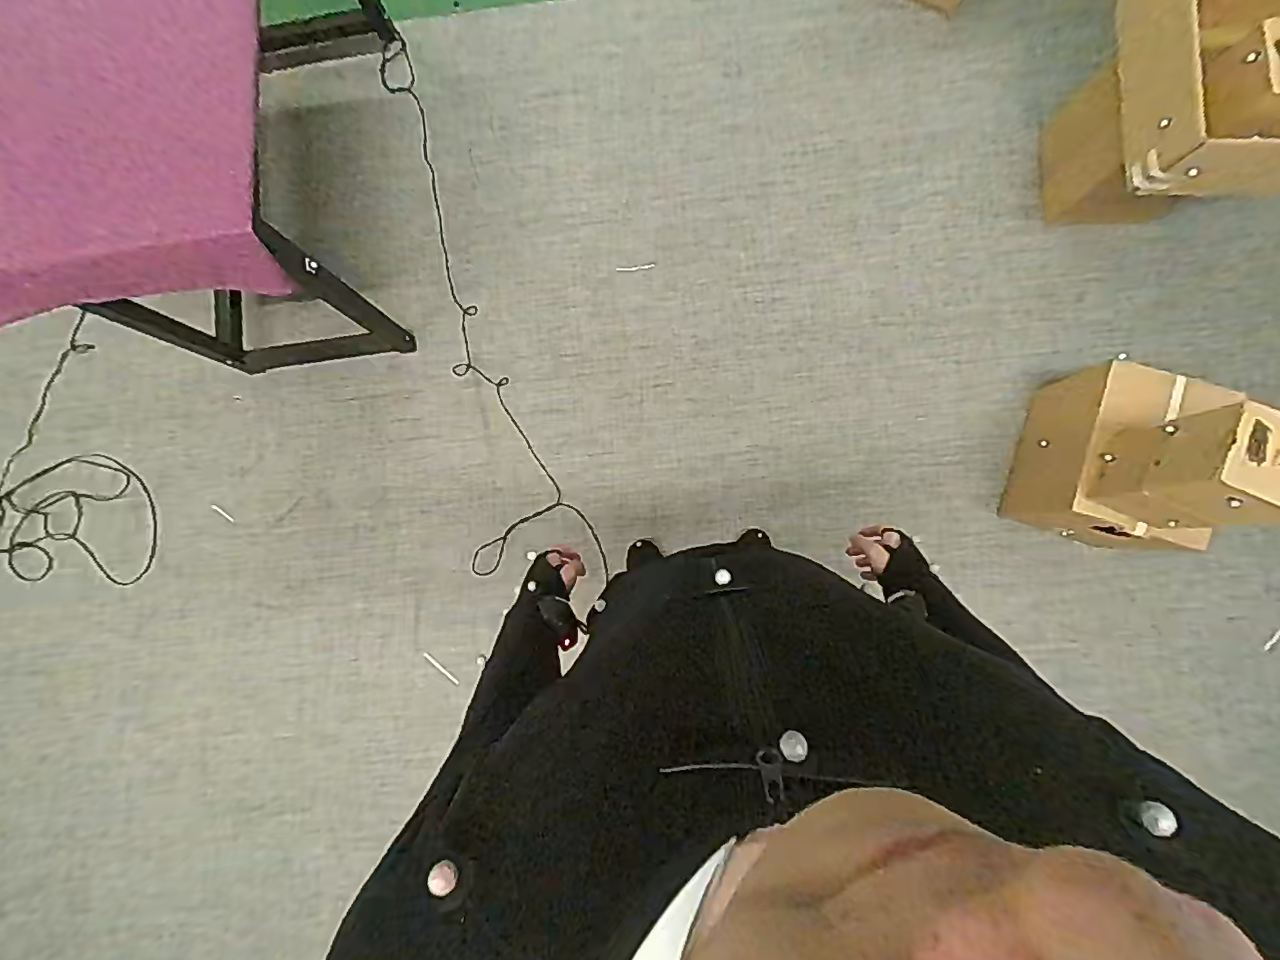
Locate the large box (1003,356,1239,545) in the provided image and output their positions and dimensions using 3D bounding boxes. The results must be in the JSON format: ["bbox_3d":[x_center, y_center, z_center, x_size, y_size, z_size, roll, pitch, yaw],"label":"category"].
[{"bbox_3d":[1.255,-0.058,1.450,0.320,0.320,0.408,18,85,5],"label":"large box"}]

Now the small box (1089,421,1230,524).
[{"bbox_3d":[1.172,-0.010,1.205,0.179,0.176,0.168,24,86,7],"label":"small box"}]

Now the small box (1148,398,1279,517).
[{"bbox_3d":[1.155,-0.033,1.043,0.179,0.176,0.168,25,86,6],"label":"small box"}]
